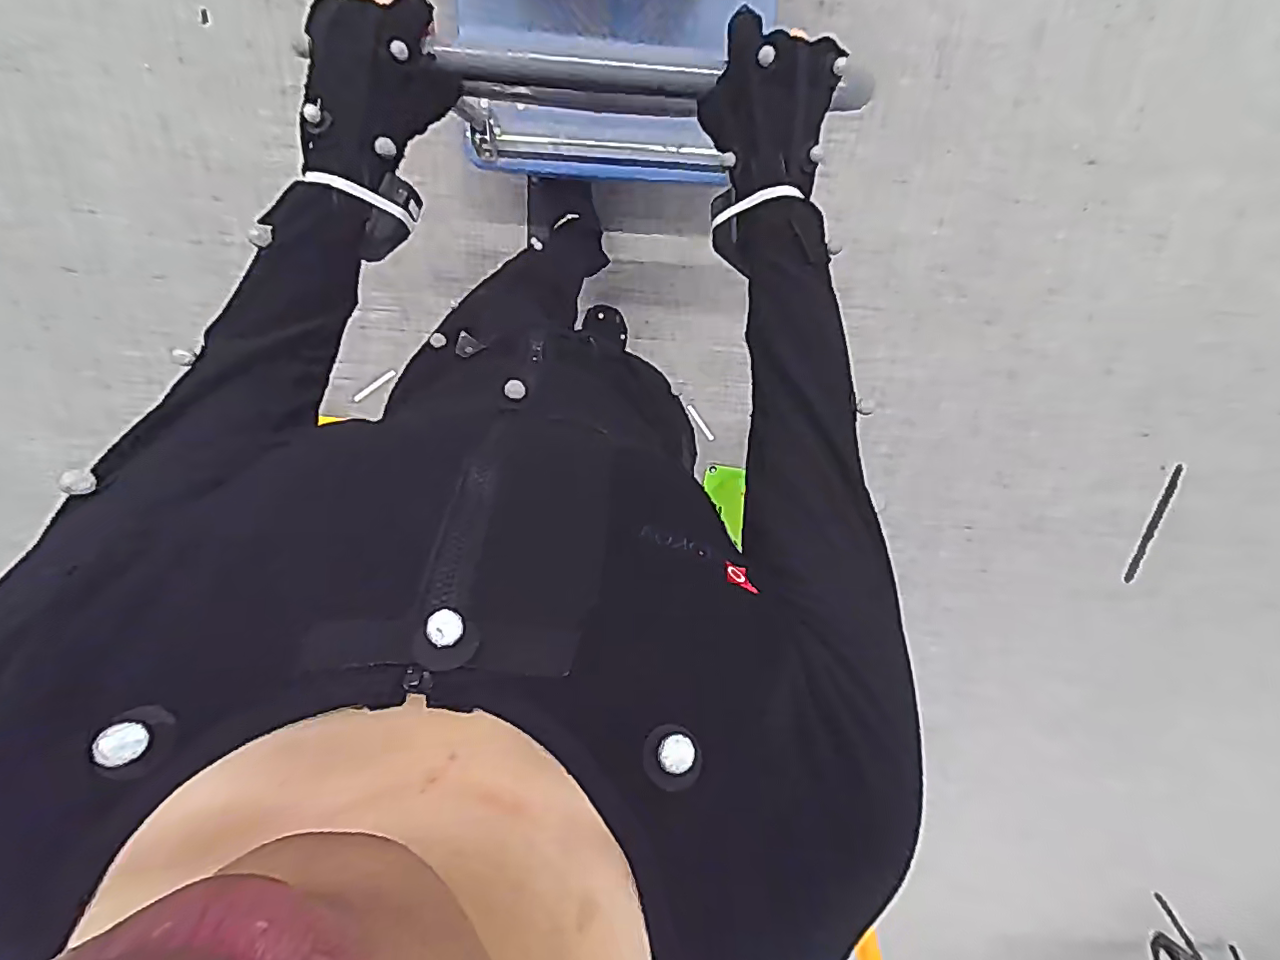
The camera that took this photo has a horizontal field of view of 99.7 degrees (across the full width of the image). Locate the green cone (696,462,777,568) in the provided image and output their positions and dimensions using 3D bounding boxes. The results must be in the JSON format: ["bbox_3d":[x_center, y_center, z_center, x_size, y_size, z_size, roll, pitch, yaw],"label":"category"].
[{"bbox_3d":[0.279,0.116,1.386,0.202,0.368,0.200,7,113,-6],"label":"green cone"}]
